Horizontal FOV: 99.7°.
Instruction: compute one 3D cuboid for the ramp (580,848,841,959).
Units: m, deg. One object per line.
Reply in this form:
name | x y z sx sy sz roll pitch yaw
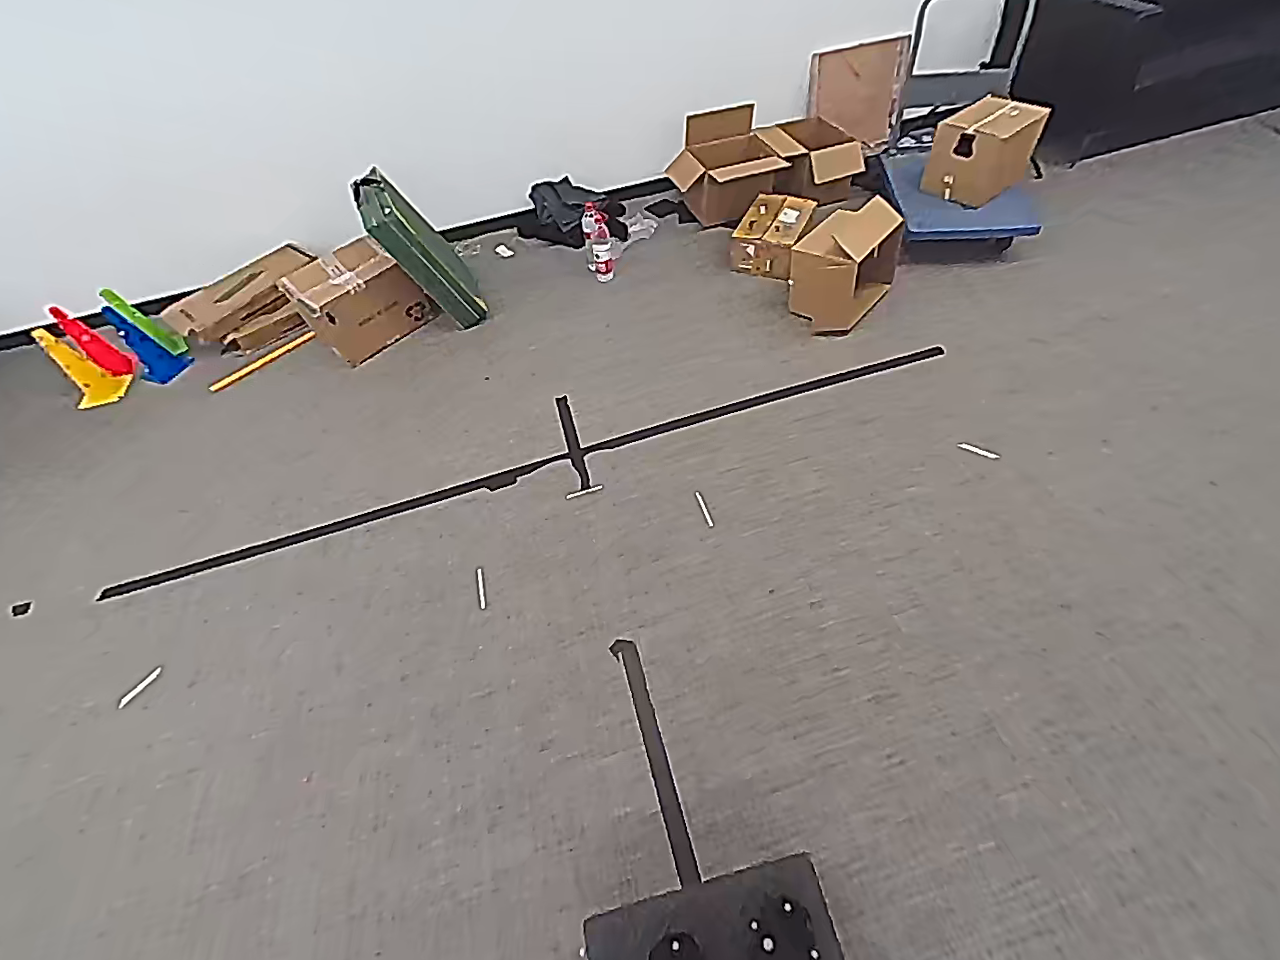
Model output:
ramp | 0.235 1.254 0.898 0.509 0.206 0.991 -15 53 -6
